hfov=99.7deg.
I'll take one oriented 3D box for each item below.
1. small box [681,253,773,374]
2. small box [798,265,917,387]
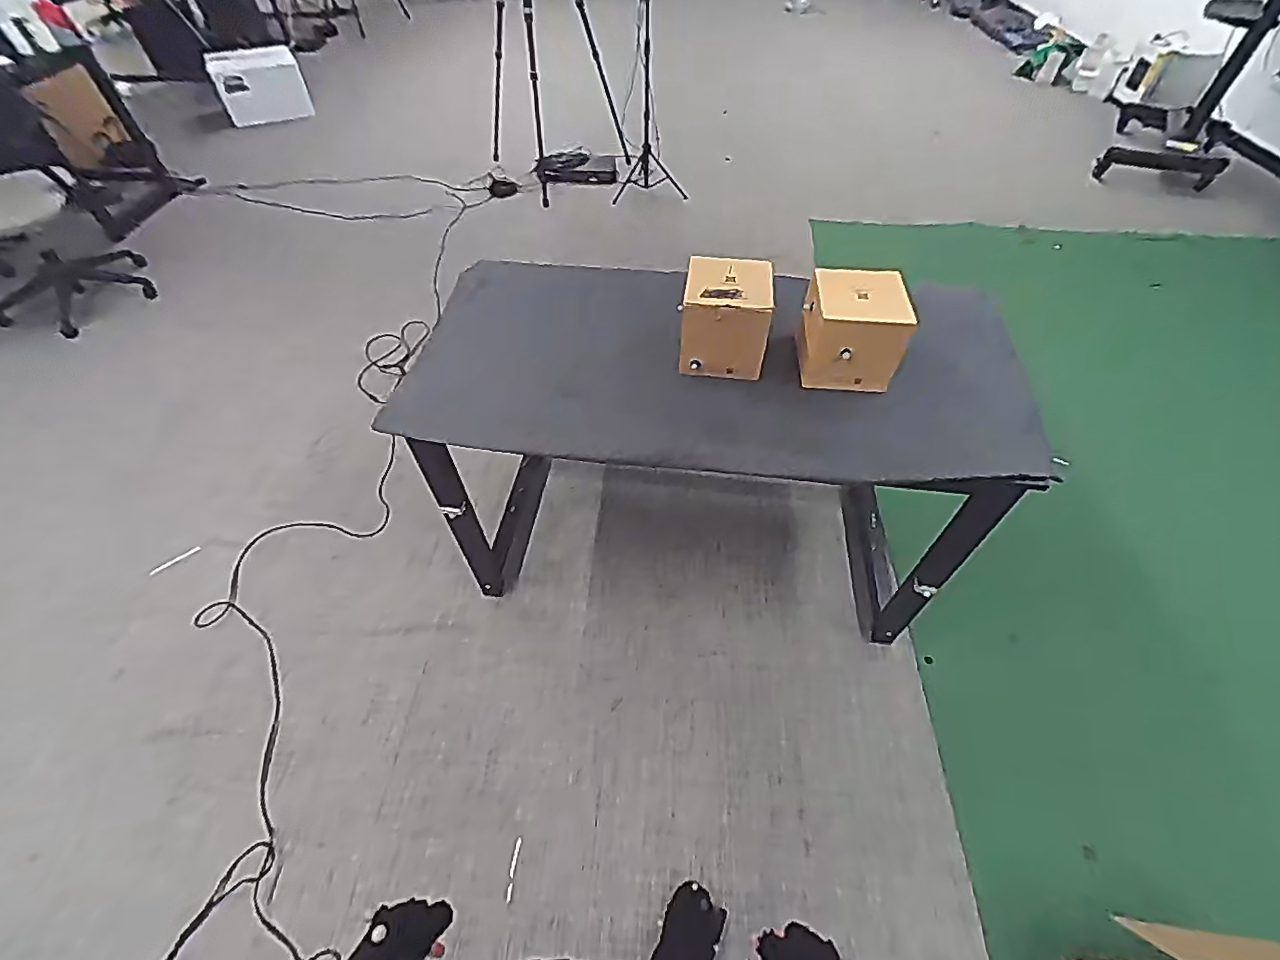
[{"bbox_3d":[0.173,-0.333,1.094,0.168,0.176,0.179,6,51,5],"label":"small box"},{"bbox_3d":[0.417,-0.301,1.067,0.168,0.176,0.179,4,51,4],"label":"small box"}]
